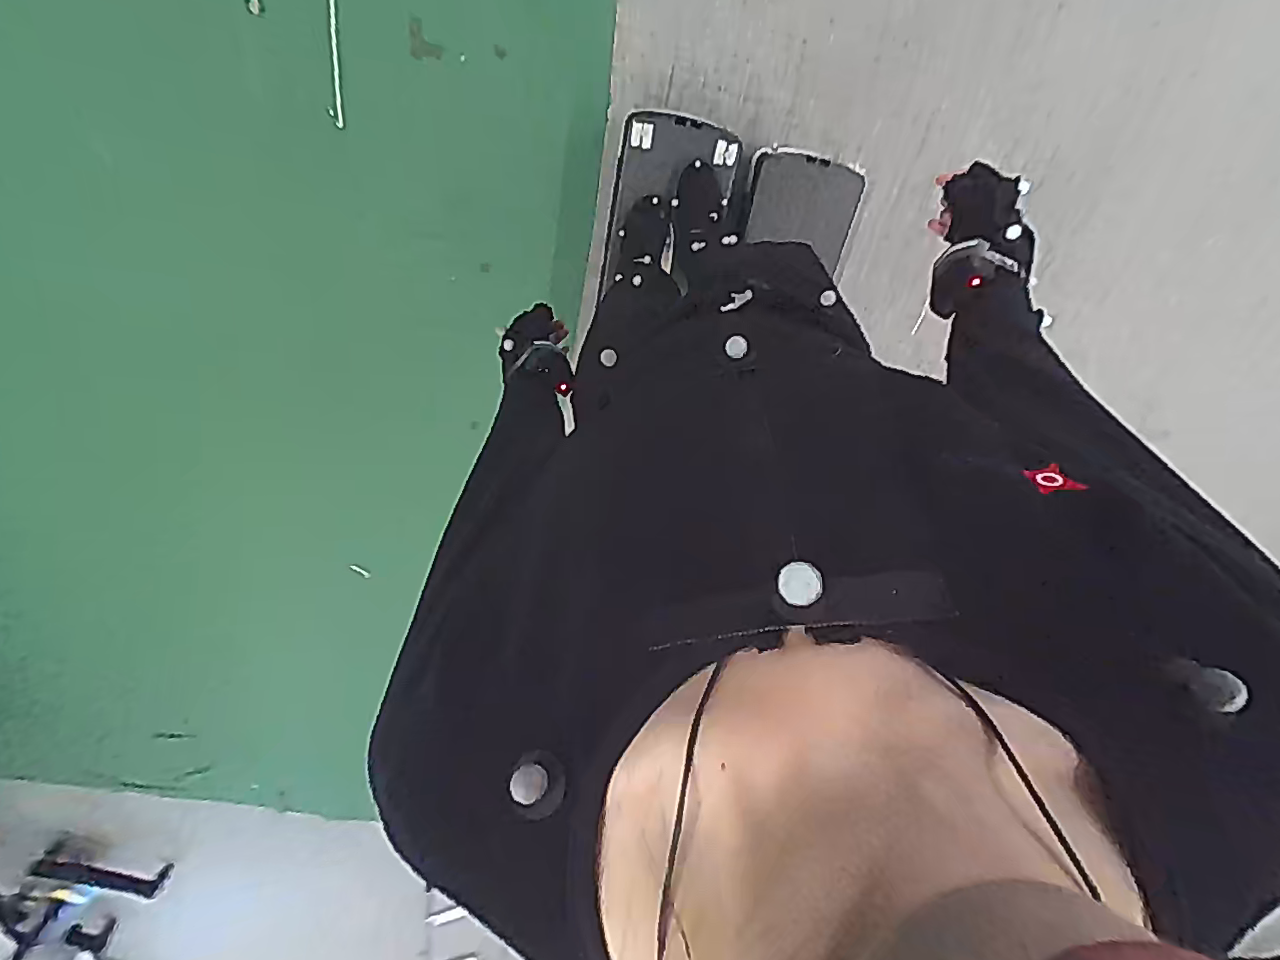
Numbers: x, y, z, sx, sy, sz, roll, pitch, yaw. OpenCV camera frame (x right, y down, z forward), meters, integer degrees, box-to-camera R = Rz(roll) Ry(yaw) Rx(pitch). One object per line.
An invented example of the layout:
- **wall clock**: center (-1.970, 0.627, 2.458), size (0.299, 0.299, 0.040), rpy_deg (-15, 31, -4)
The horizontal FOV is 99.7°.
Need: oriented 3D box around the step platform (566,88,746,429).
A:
- **step platform**: center (0.013, -0.468, 1.242), size (0.286, 0.204, 0.684), rpy_deg (9, 120, -6)
